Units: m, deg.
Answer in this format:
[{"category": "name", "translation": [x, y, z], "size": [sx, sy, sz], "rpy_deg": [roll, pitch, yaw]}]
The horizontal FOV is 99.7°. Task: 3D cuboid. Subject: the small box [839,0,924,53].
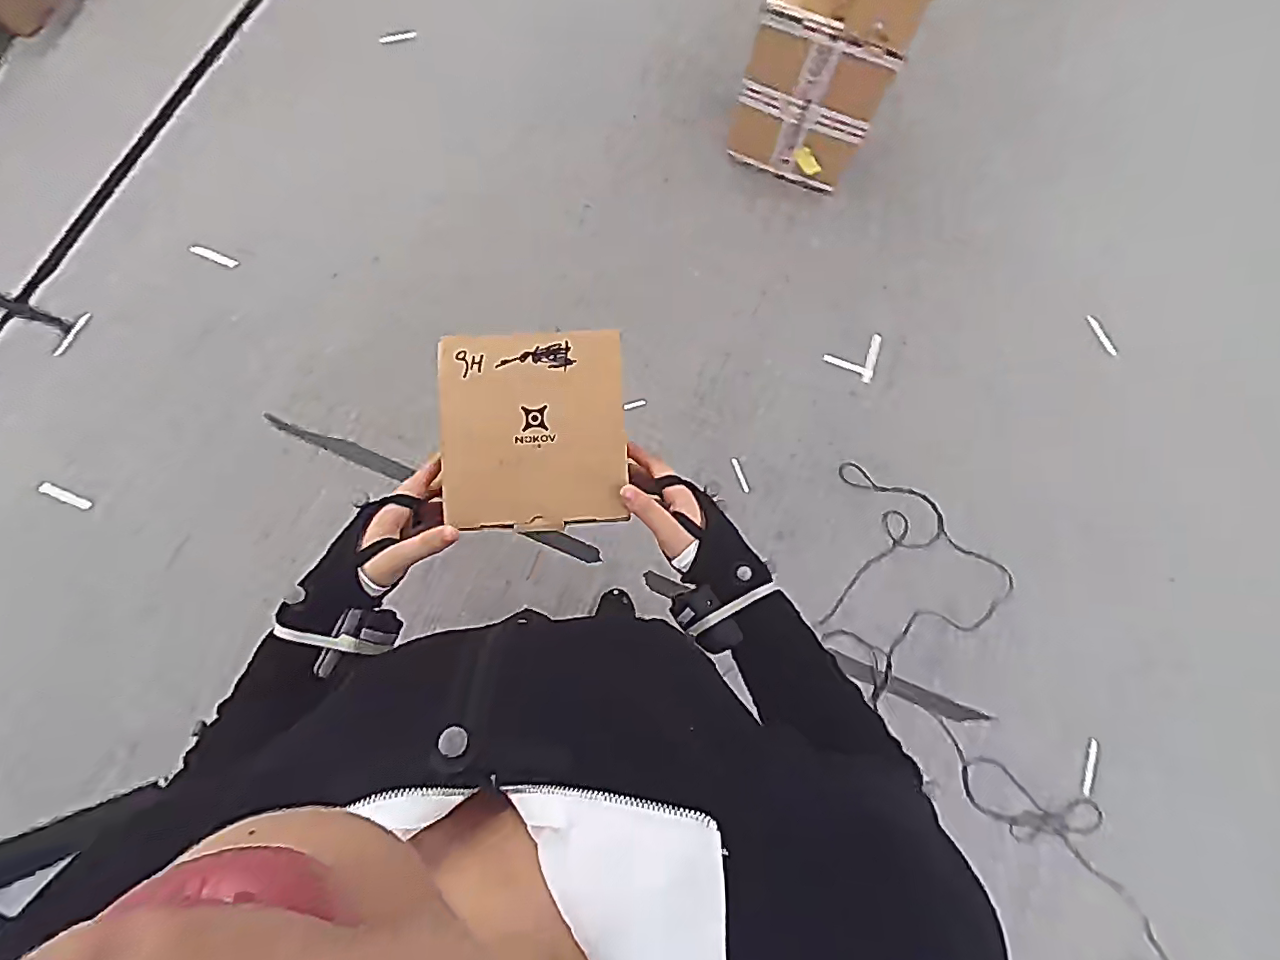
[{"category": "small box", "translation": [0.616, -1.214, 1.327], "size": [0.168, 0.176, 0.179], "rpy_deg": [22, 79, 2]}]
